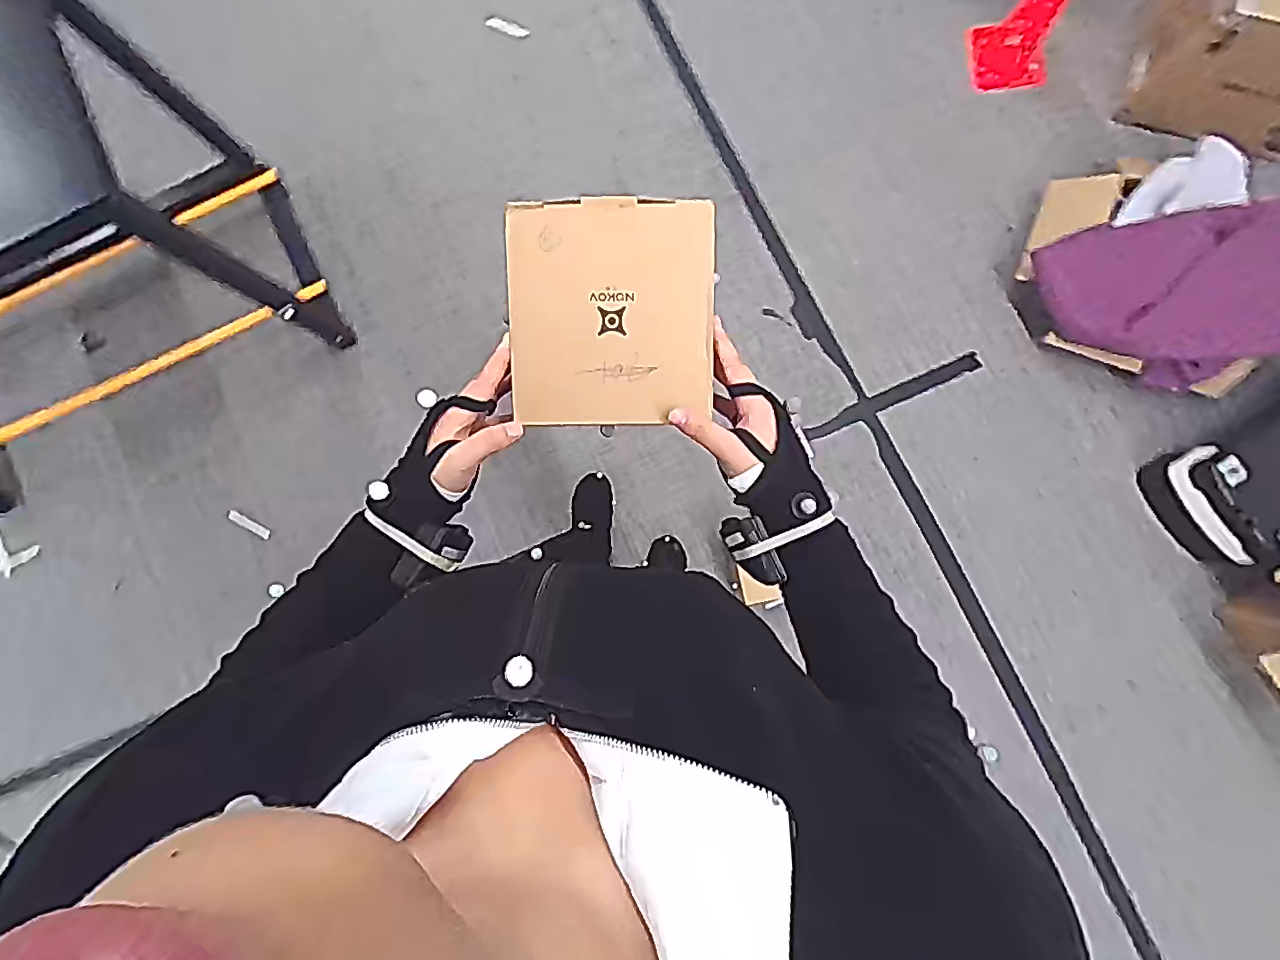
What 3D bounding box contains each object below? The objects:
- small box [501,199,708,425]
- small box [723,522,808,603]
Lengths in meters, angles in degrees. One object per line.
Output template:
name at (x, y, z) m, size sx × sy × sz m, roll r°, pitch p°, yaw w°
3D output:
small box at (-0.027, -0.146, 0.519) m, size 0.168 × 0.176 × 0.179 m, roll -3°, pitch 99°, yaw 1°
small box at (0.320, 0.209, 1.408) m, size 0.168 × 0.176 × 0.179 m, roll -11°, pitch 85°, yaw 1°
